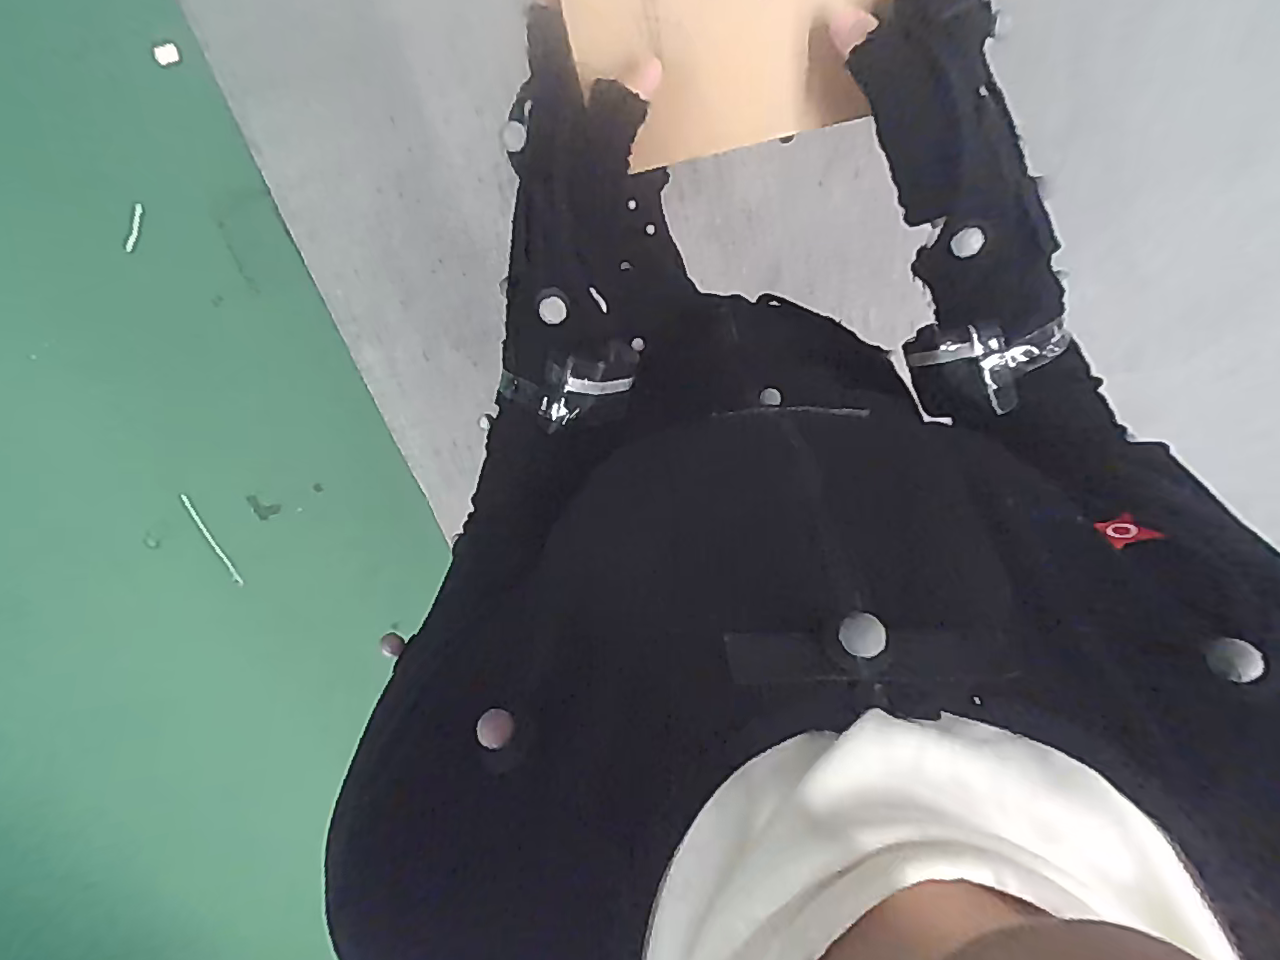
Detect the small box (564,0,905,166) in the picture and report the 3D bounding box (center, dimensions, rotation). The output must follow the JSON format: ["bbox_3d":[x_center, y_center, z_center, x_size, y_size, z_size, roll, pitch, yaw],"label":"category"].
[{"bbox_3d":[0.042,-0.313,0.327,0.179,0.176,0.168,-11,127,6],"label":"small box"}]
